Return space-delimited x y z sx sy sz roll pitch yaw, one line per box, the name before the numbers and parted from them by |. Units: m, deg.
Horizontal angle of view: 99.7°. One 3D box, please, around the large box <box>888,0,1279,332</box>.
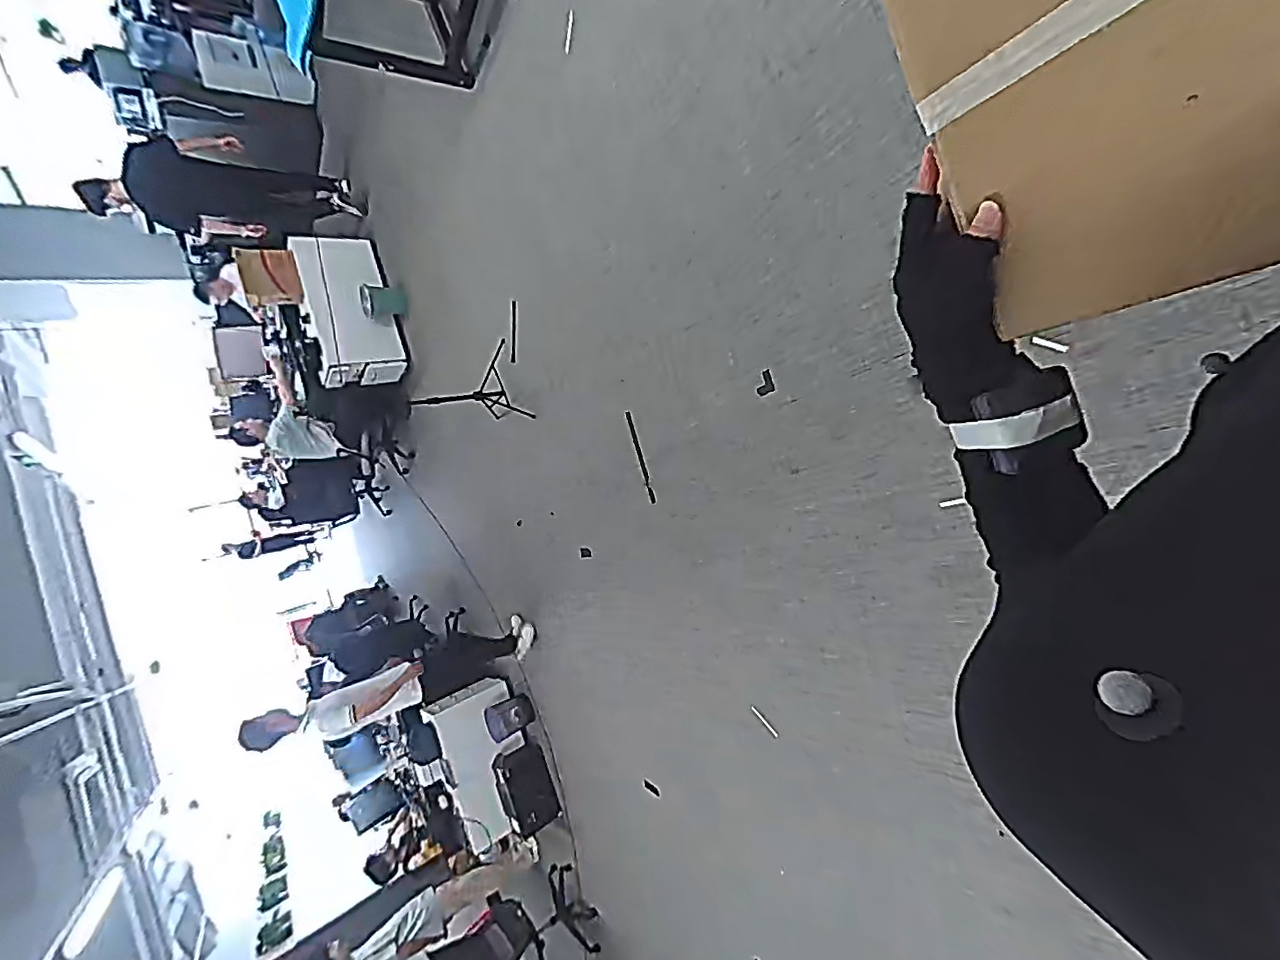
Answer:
large box | 0.412 -0.330 0.290 0.408 0.320 0.320 -12 108 53
